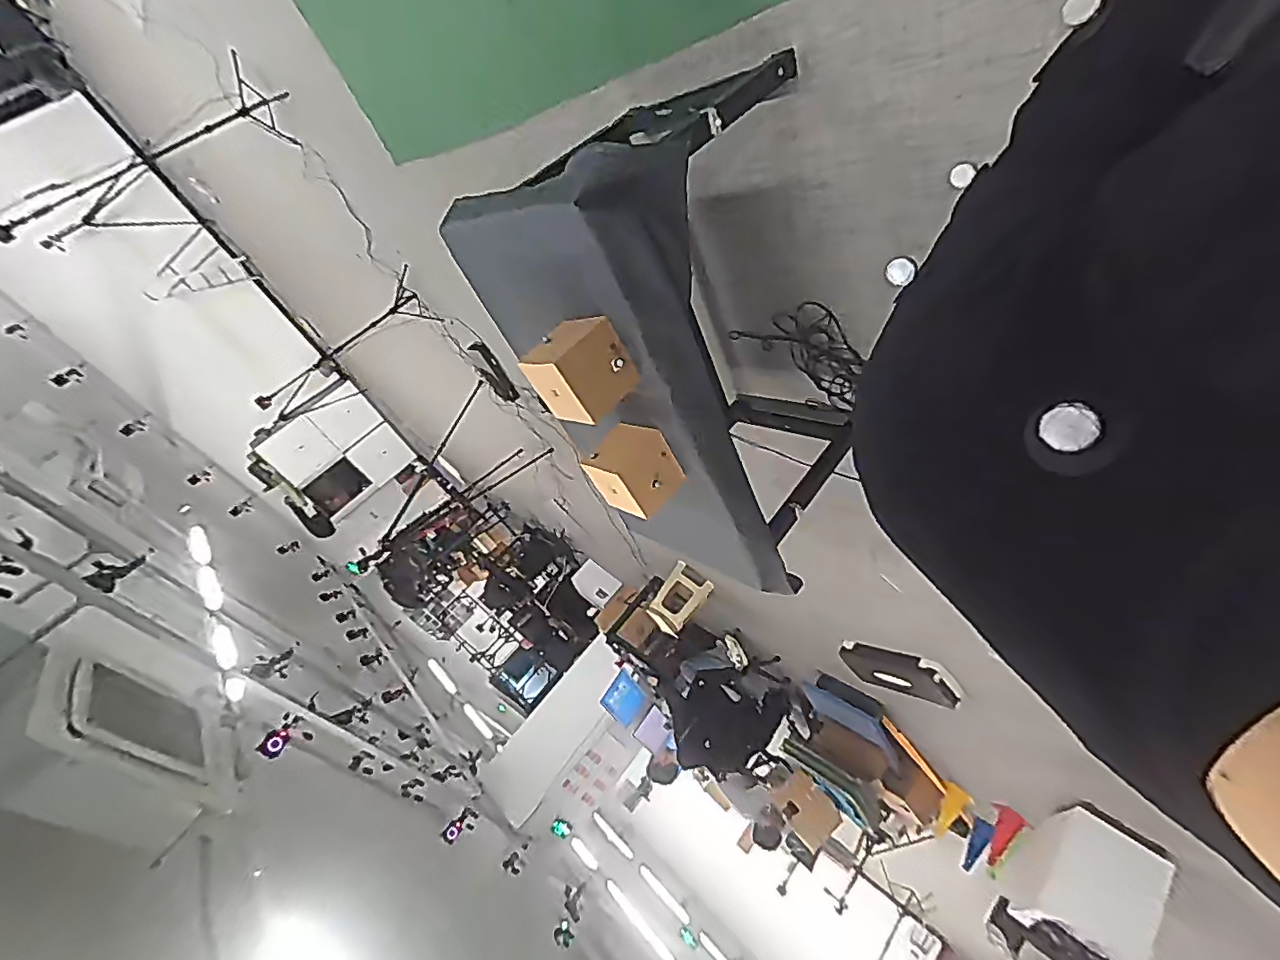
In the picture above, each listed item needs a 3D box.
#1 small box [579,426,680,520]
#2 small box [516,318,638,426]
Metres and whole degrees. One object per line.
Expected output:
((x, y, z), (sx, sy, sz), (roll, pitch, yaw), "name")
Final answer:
((-0.019, -0.024, 1.418), (0.179, 0.176, 0.168), (17, 147, 50), "small box")
((-0.137, -0.244, 1.209), (0.179, 0.176, 0.168), (14, 146, 50), "small box")
